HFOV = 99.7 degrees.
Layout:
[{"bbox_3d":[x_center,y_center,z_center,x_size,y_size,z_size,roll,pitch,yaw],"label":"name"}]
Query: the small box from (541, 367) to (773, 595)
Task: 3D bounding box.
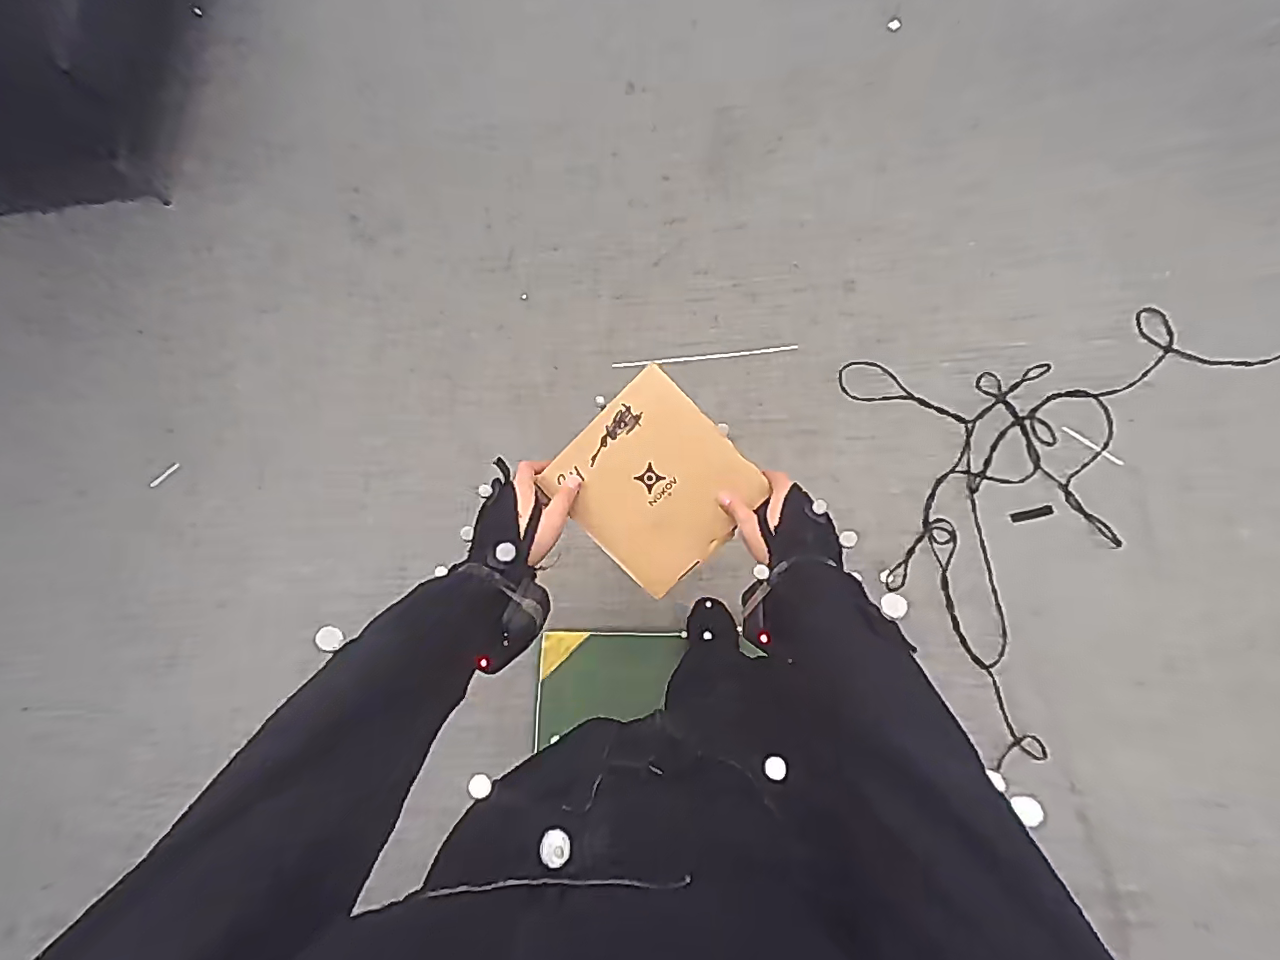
[{"bbox_3d":[0.018,-0.007,0.615,0.168,0.176,0.179,-44,95,5],"label":"small box"}]
